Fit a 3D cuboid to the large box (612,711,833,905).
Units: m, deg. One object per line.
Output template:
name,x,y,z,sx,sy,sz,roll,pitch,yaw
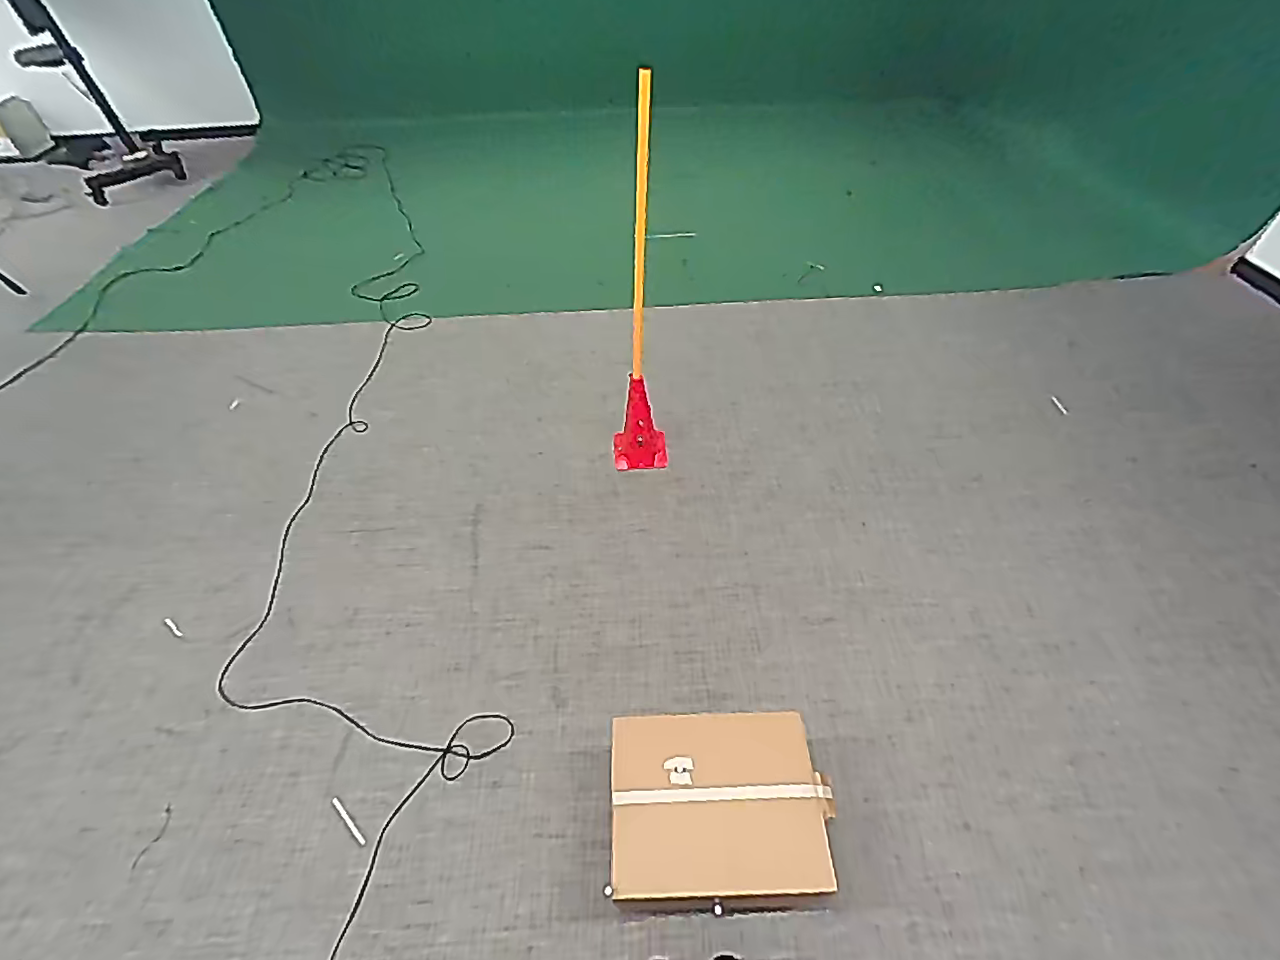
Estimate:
large box,0.153,0.718,1.177,0.408,0.320,0.320,-2,48,1
